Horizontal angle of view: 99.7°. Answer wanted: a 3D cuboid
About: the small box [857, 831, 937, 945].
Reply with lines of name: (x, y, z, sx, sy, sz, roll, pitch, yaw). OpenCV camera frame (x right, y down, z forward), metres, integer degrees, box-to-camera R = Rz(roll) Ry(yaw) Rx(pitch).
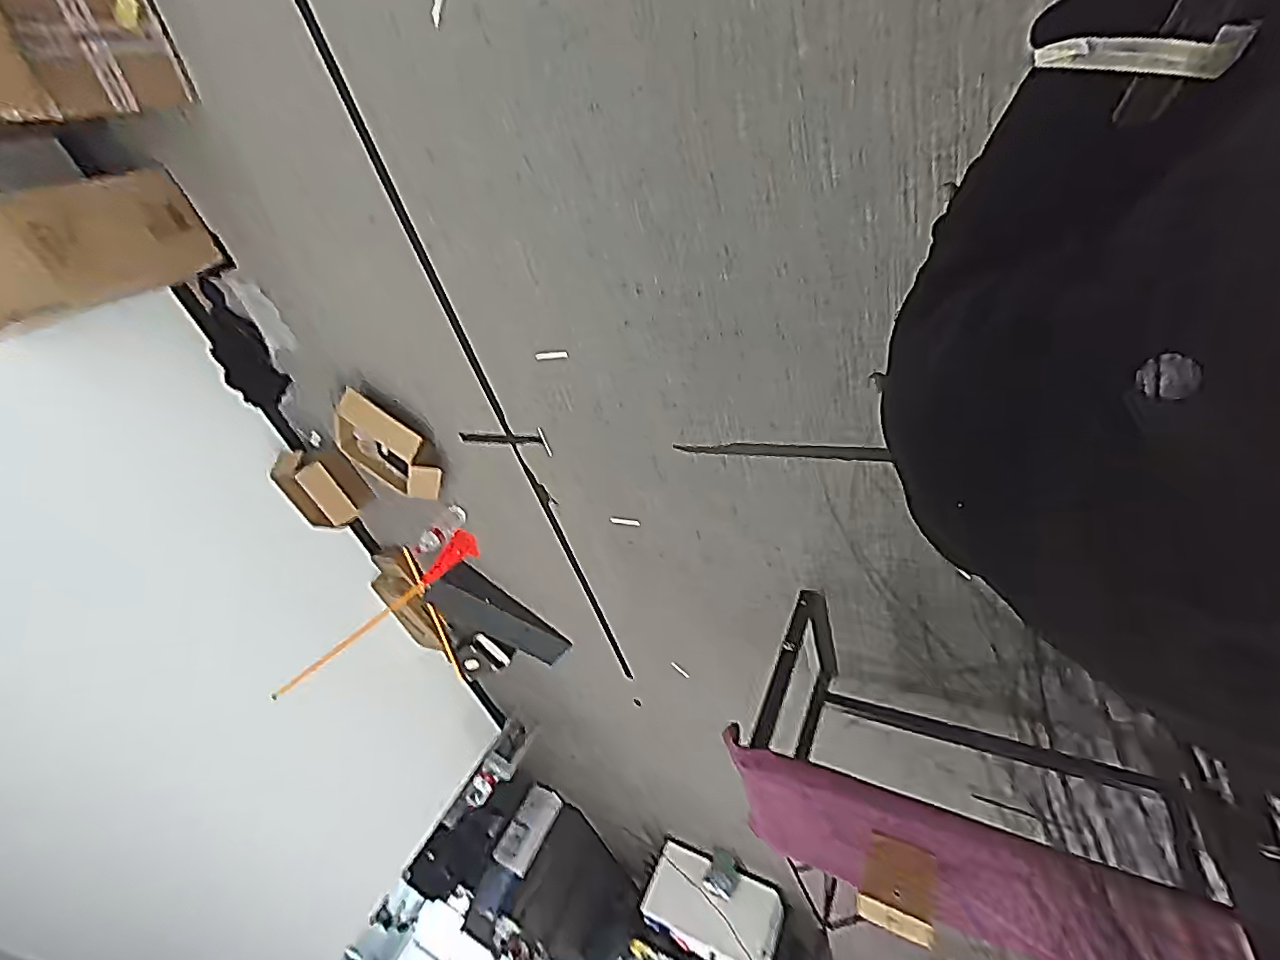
small box: (0.699, 1.099, 1.467, 0.179, 0.176, 0.168, 7, 130, 32)
